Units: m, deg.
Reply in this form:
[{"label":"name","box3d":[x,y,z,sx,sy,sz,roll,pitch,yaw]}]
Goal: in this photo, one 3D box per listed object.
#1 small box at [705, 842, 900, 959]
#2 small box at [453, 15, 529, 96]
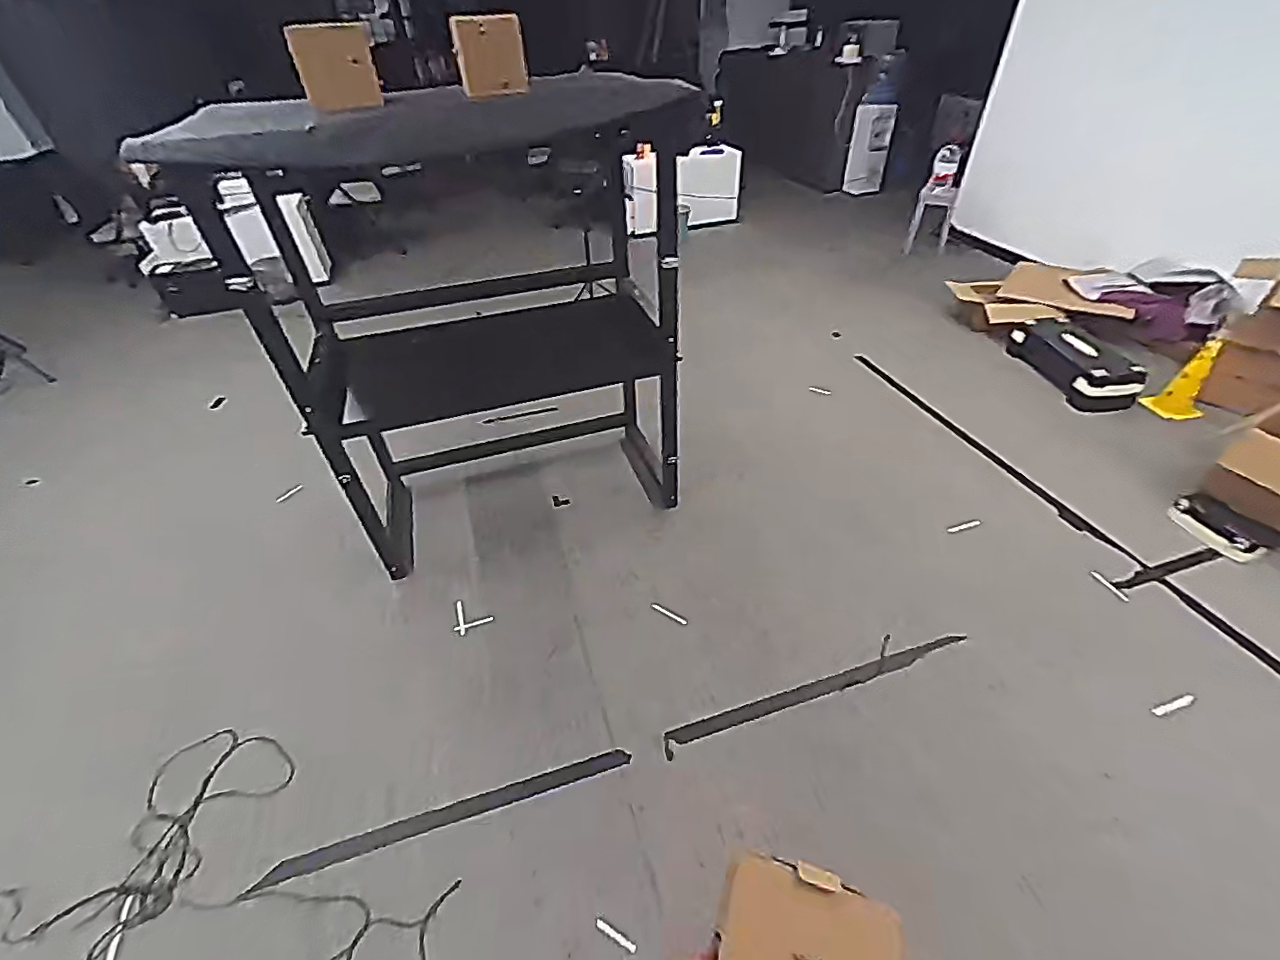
[{"label":"small box","box3d":[0.155,0.519,0.561,0.168,0.176,0.179,14,49,14]},{"label":"small box","box3d":[-0.413,-1.180,1.504,0.168,0.176,0.179,-15,42,-12]}]
